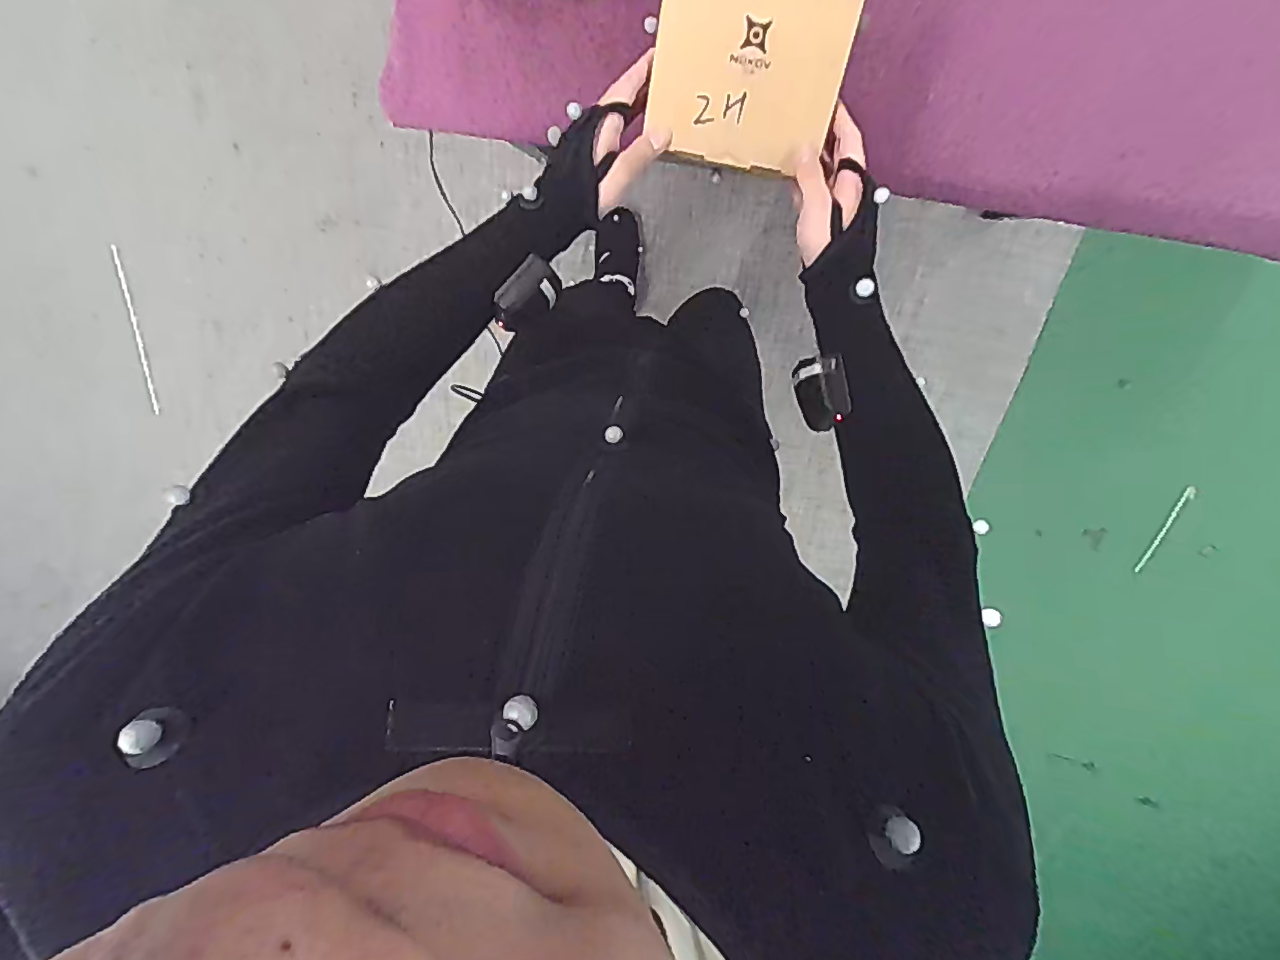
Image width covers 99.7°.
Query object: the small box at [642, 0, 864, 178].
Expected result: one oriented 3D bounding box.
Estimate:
[{"bbox_3d":[0.100,-0.409,0.526,0.168,0.176,0.179,10,118,-1],"label":"small box"}]
